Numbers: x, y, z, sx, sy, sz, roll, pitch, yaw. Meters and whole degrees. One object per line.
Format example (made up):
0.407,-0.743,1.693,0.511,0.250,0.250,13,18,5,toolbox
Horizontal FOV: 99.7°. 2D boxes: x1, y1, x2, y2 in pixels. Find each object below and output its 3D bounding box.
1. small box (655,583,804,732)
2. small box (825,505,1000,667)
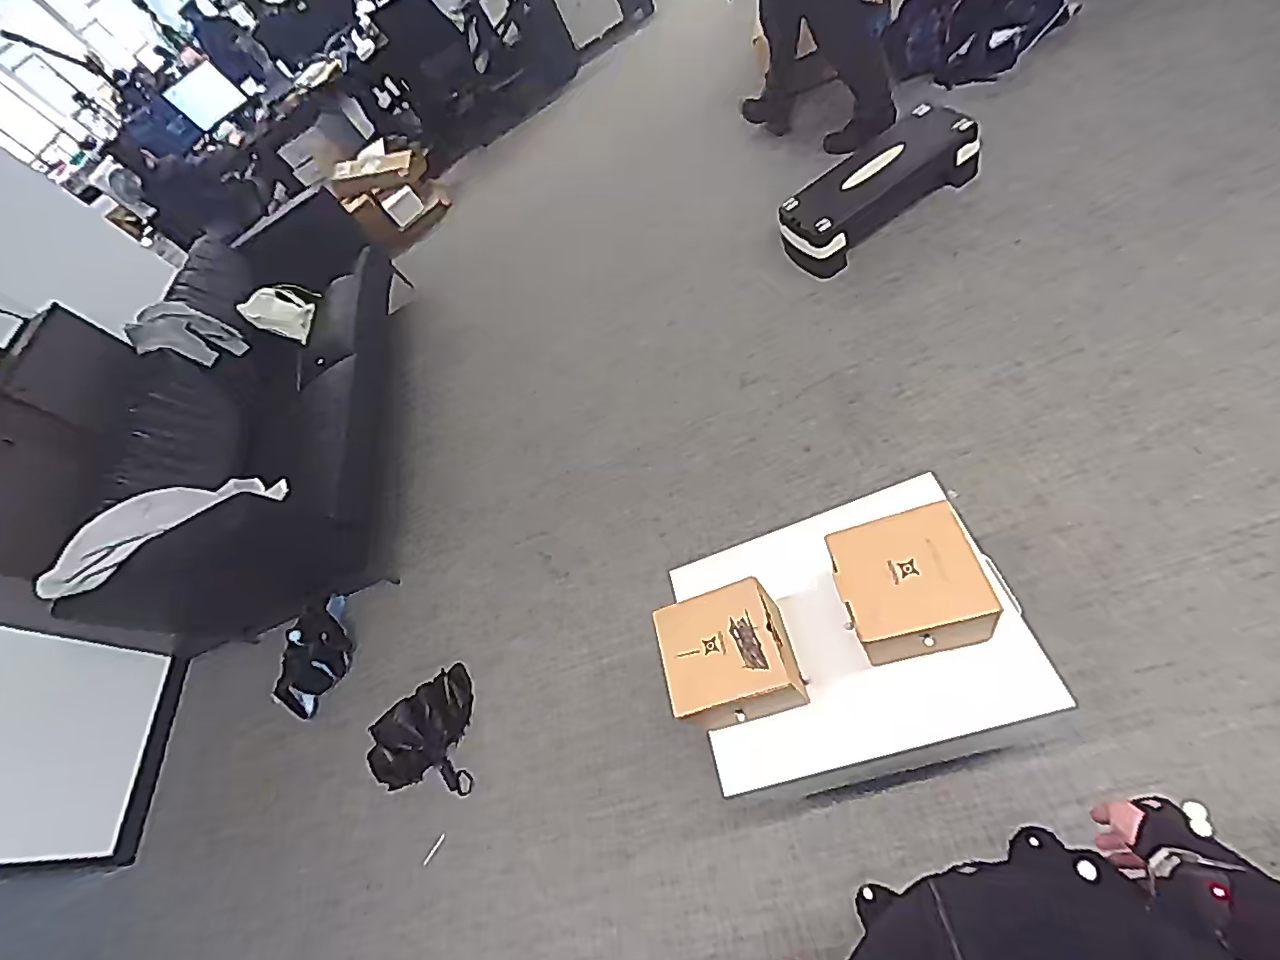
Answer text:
0.147,0.287,0.856,0.179,0.176,0.168,-23,53,15,small box
0.395,0.166,0.799,0.179,0.176,0.168,-20,56,16,small box
